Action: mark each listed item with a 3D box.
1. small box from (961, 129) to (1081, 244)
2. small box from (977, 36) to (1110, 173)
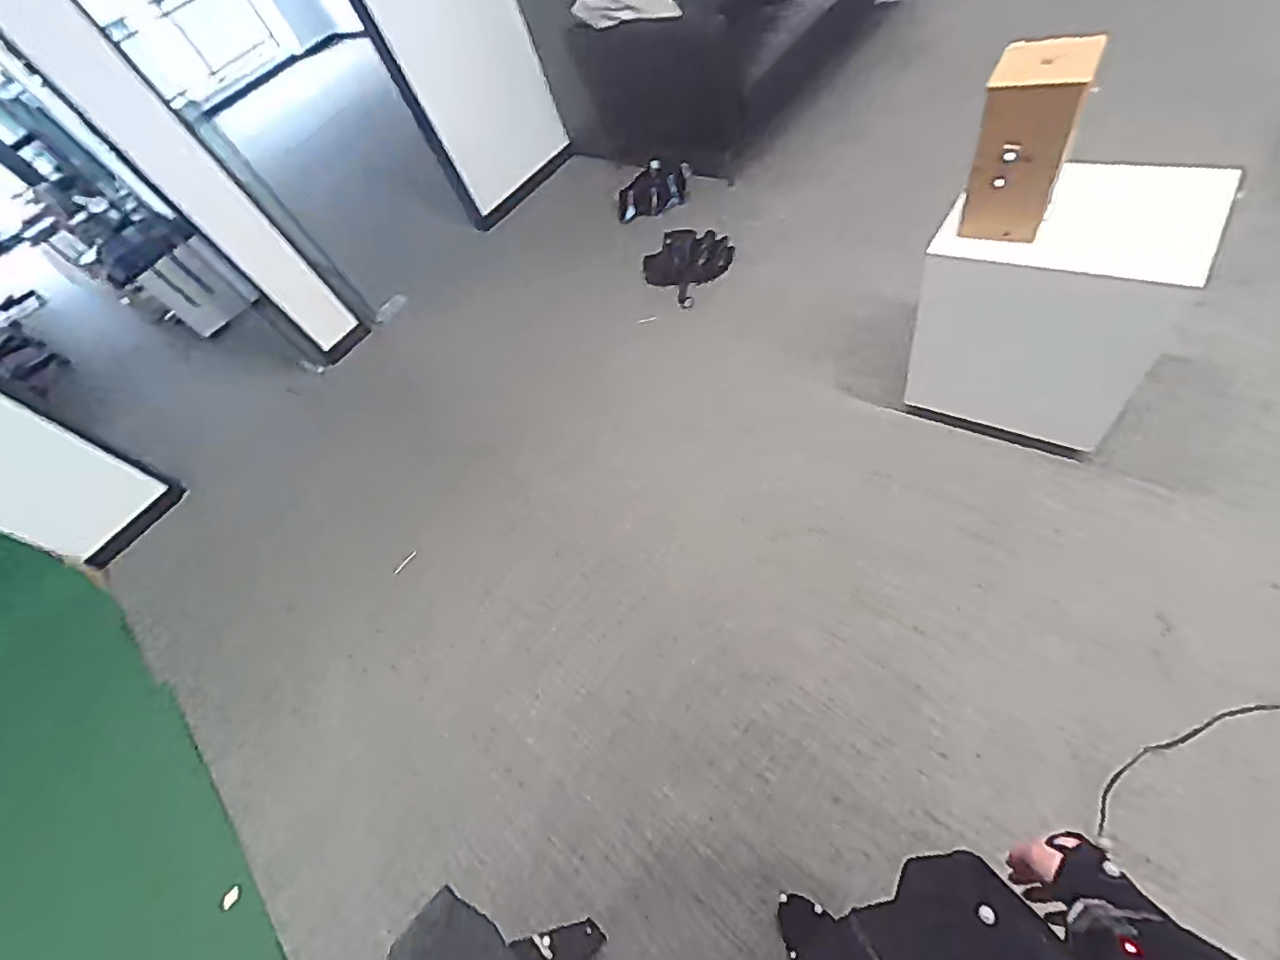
[{"bbox_3d":[0.856,-0.669,1.228,0.168,0.176,0.179,22,66,30],"label":"small box"},{"bbox_3d":[0.809,-0.757,1.099,0.168,0.176,0.179,19,65,30],"label":"small box"}]
